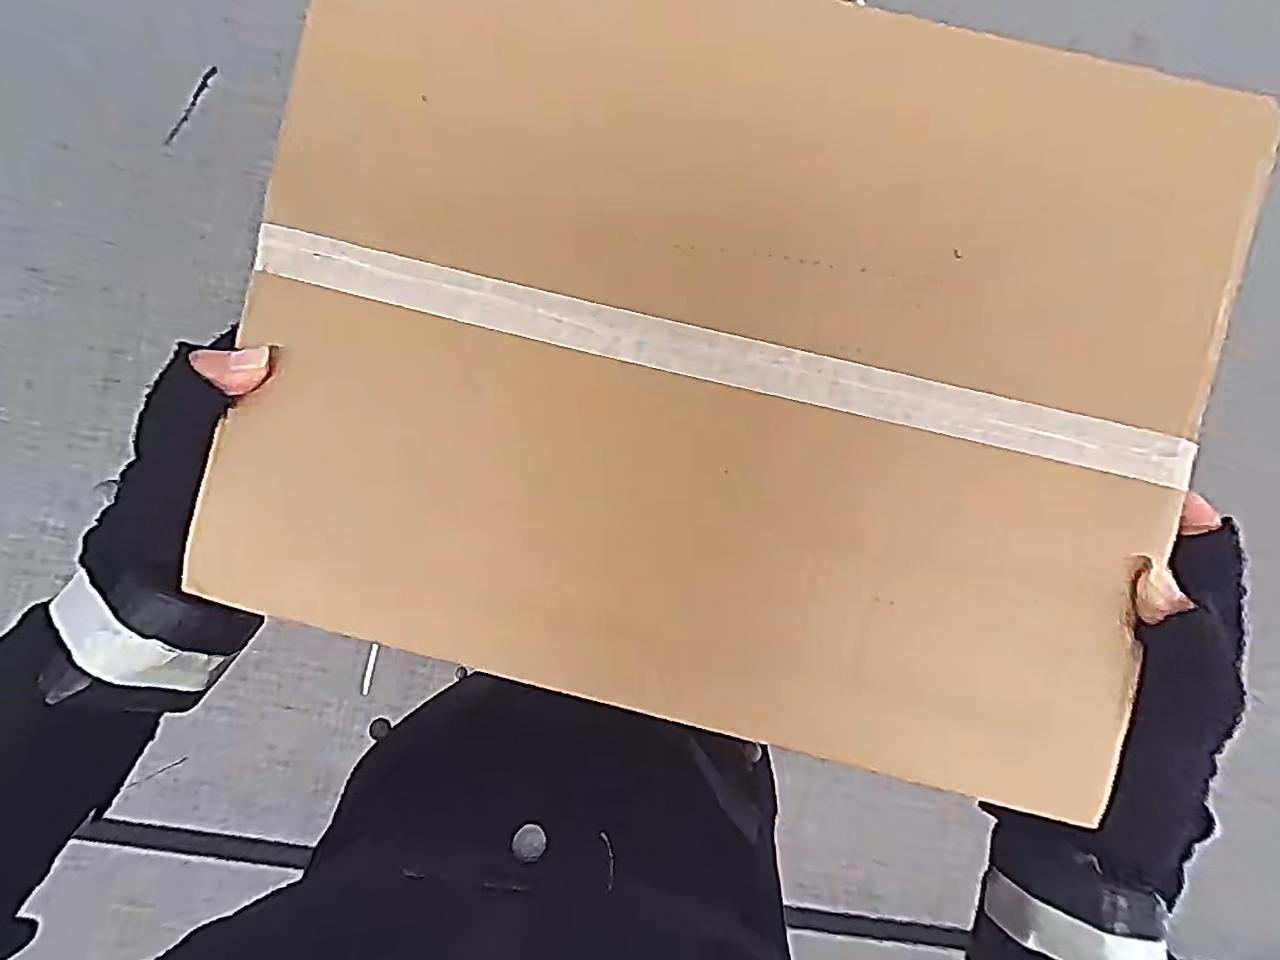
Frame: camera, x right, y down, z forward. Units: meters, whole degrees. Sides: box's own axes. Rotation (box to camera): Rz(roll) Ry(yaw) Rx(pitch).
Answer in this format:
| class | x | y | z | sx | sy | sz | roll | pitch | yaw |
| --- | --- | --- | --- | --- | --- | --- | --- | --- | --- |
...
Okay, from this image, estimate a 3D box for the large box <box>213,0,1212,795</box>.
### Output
| class | x | y | z | sx | sy | sz | roll | pitch | yaw |
| --- | --- | --- | --- | --- | --- | --- | --- | --- | --- |
| large box | 0.031 | -0.049 | 0.393 | 0.408 | 0.320 | 0.320 | 14 | 90 | 1 |
